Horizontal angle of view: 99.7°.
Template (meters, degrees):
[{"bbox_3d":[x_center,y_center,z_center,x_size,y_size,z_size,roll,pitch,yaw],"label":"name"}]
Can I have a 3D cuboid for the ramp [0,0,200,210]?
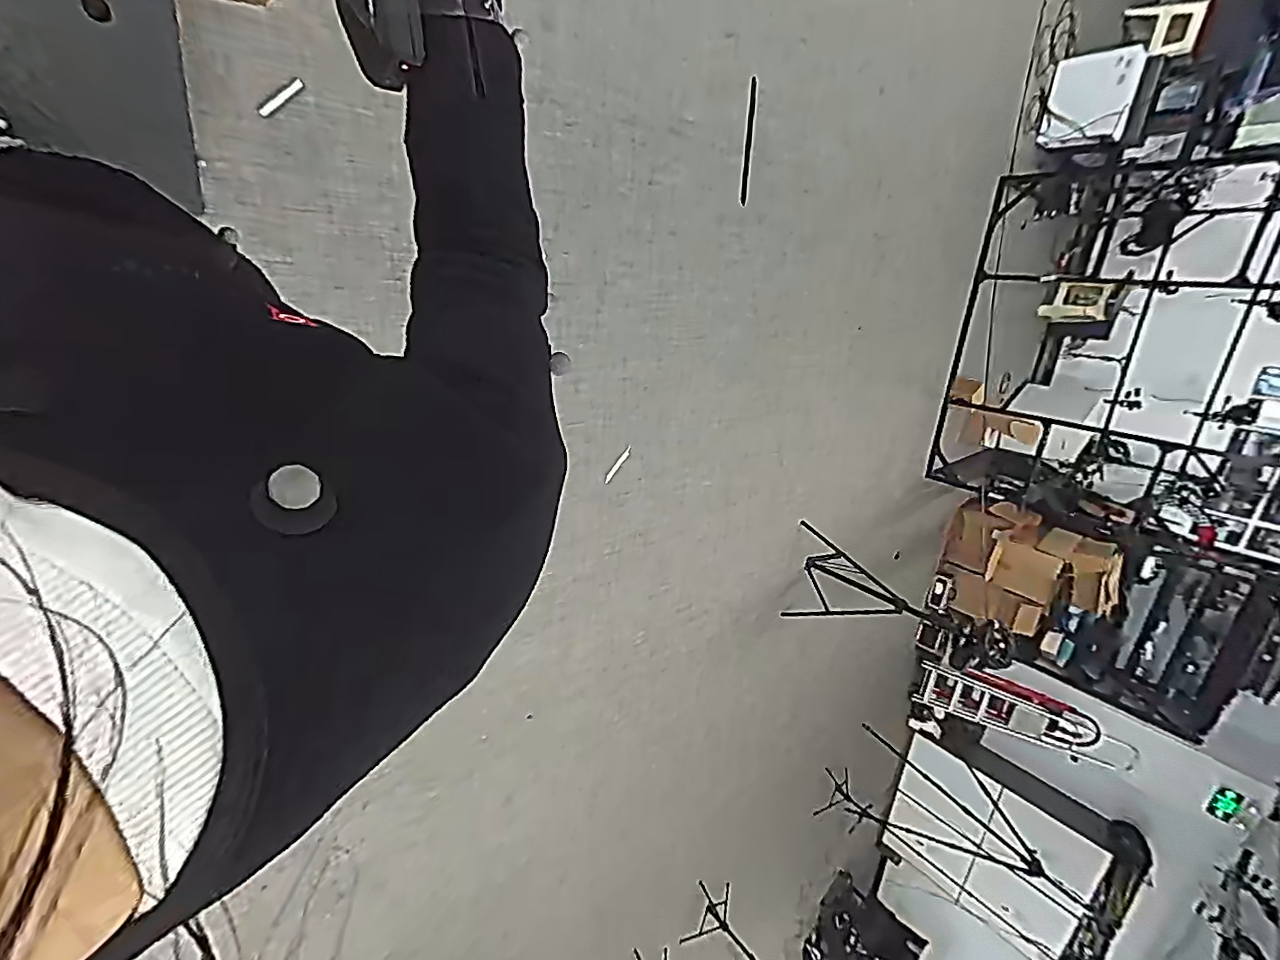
[{"bbox_3d":[-0.944,-0.925,0.688,0.509,0.206,0.991,-14,117,-40],"label":"ramp"}]
